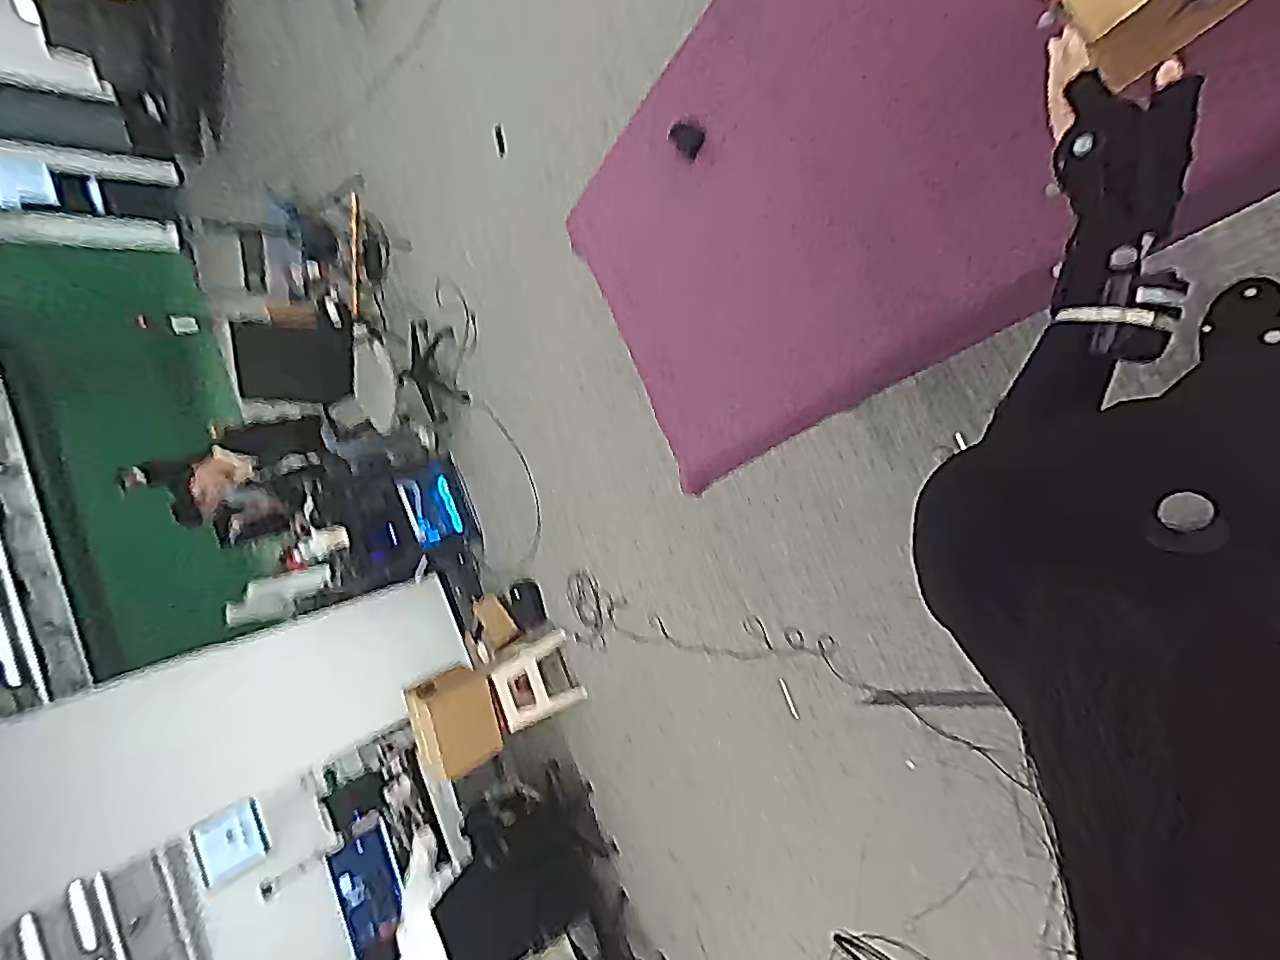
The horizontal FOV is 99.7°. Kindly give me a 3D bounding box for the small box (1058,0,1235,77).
[{"bbox_3d":[0.453,-0.491,0.453,0.179,0.176,0.168,-32,79,48],"label":"small box"}]
